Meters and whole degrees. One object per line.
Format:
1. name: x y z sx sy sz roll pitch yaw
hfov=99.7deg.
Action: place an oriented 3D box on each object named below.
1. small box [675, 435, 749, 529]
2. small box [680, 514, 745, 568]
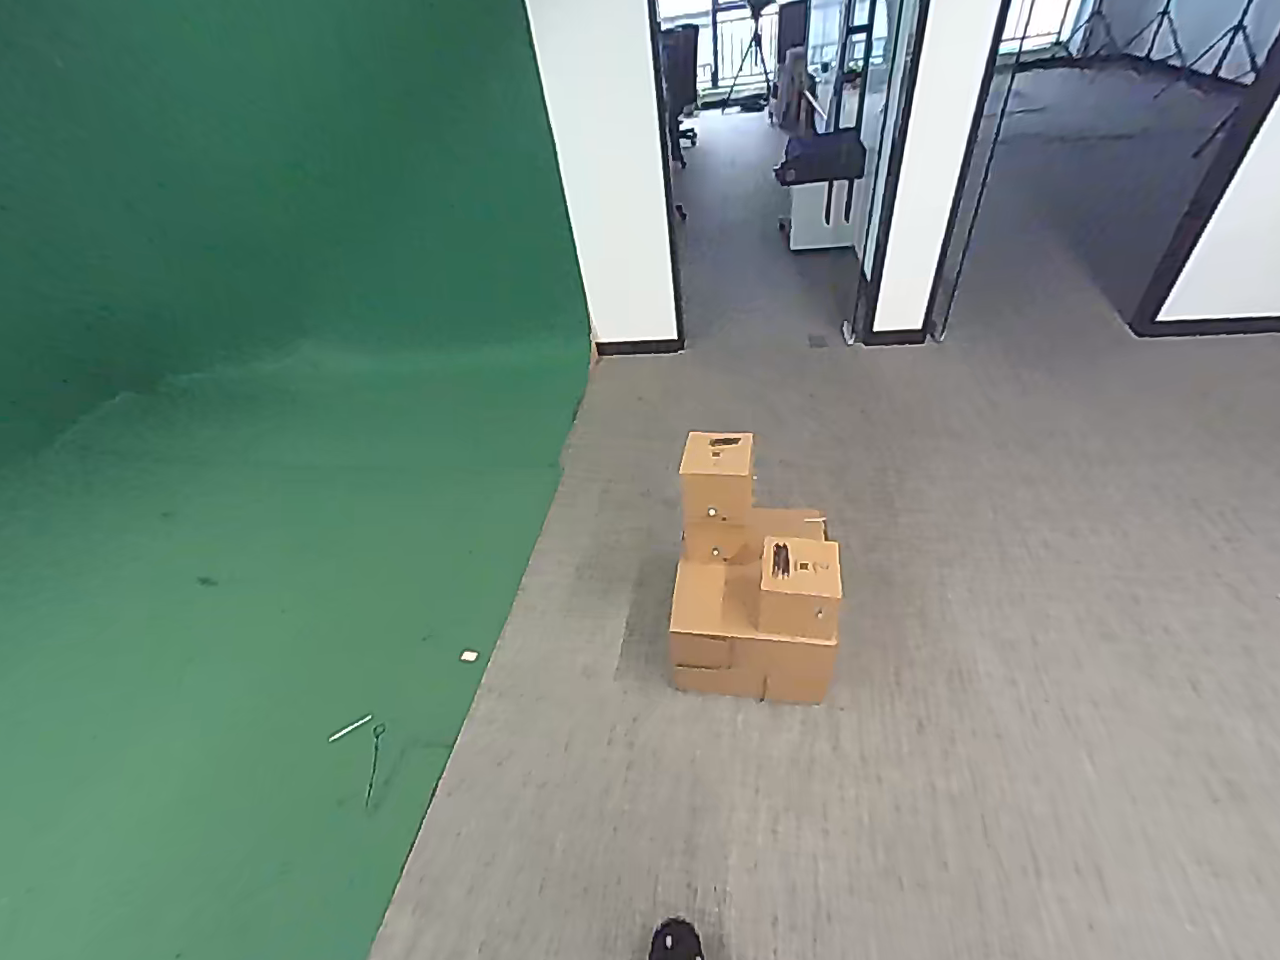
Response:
1. small box: 0.190 0.003 1.388 0.168 0.176 0.179 2 40 14
2. small box: 0.206 0.120 1.504 0.168 0.176 0.179 0 39 13
